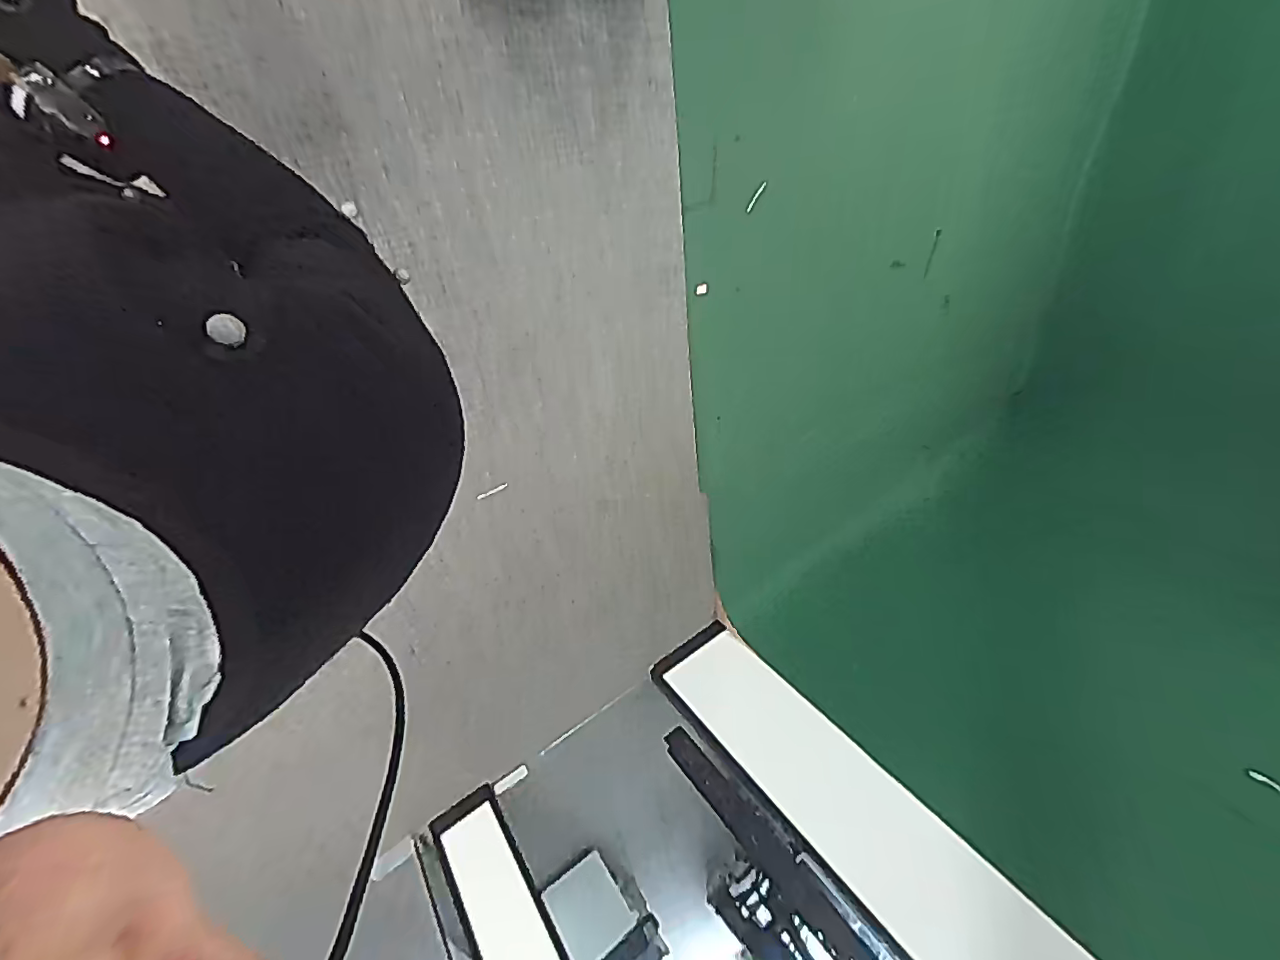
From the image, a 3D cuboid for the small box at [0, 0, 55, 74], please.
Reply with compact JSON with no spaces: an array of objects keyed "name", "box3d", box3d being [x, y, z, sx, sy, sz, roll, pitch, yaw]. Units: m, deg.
[{"name":"small box","box3d":[-0.628,-0.434,0.408,0.168,0.176,0.179,-28,105,-18]}]
